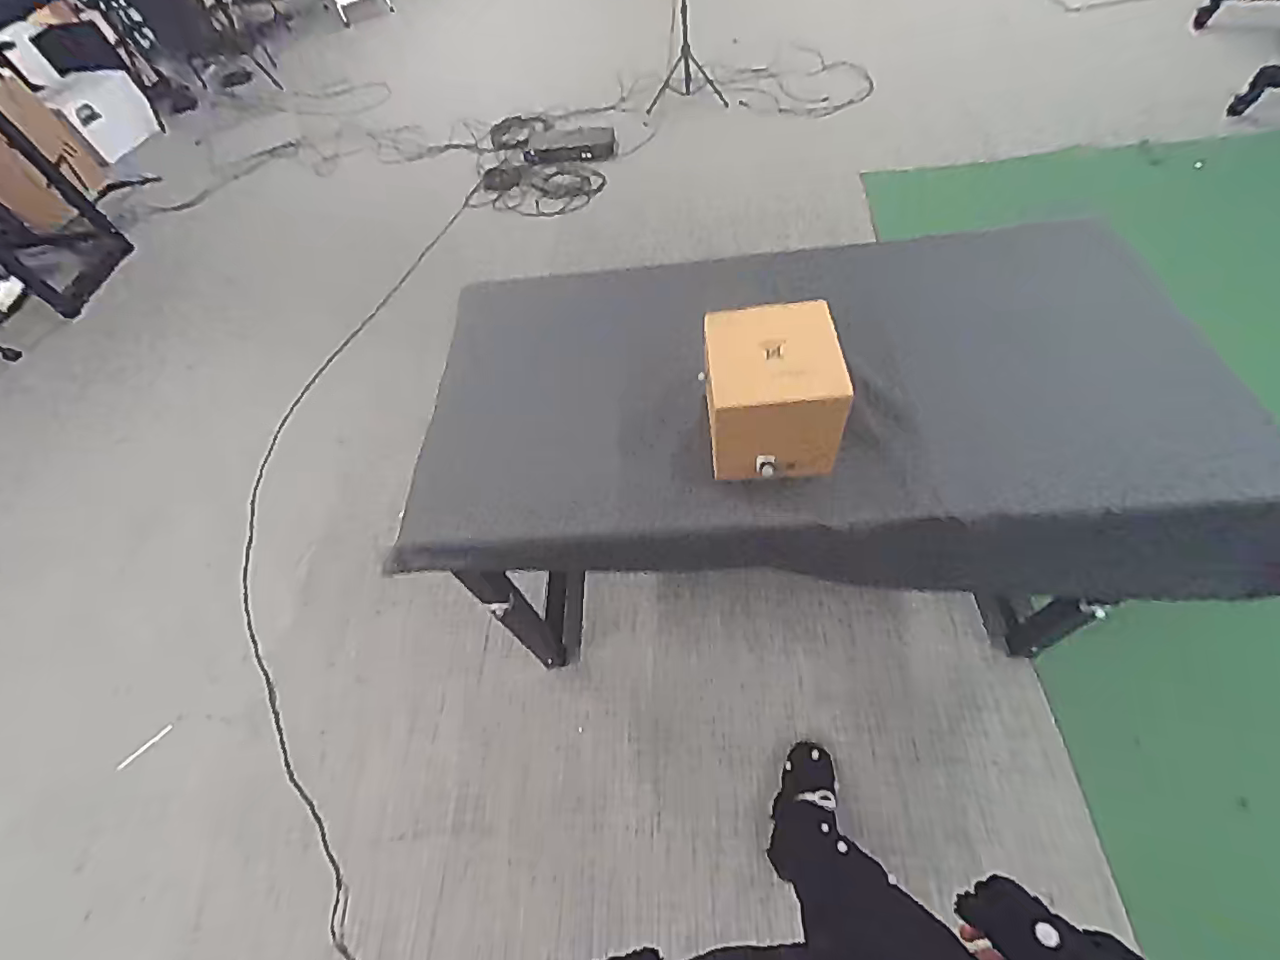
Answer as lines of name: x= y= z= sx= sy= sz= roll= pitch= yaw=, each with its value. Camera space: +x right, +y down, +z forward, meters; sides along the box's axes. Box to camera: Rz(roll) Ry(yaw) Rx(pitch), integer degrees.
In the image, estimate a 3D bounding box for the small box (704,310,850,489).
small box: x=0.180 y=-0.108 z=0.761 sx=0.168 sy=0.176 sz=0.179 roll=-6 pitch=55 yaw=7
